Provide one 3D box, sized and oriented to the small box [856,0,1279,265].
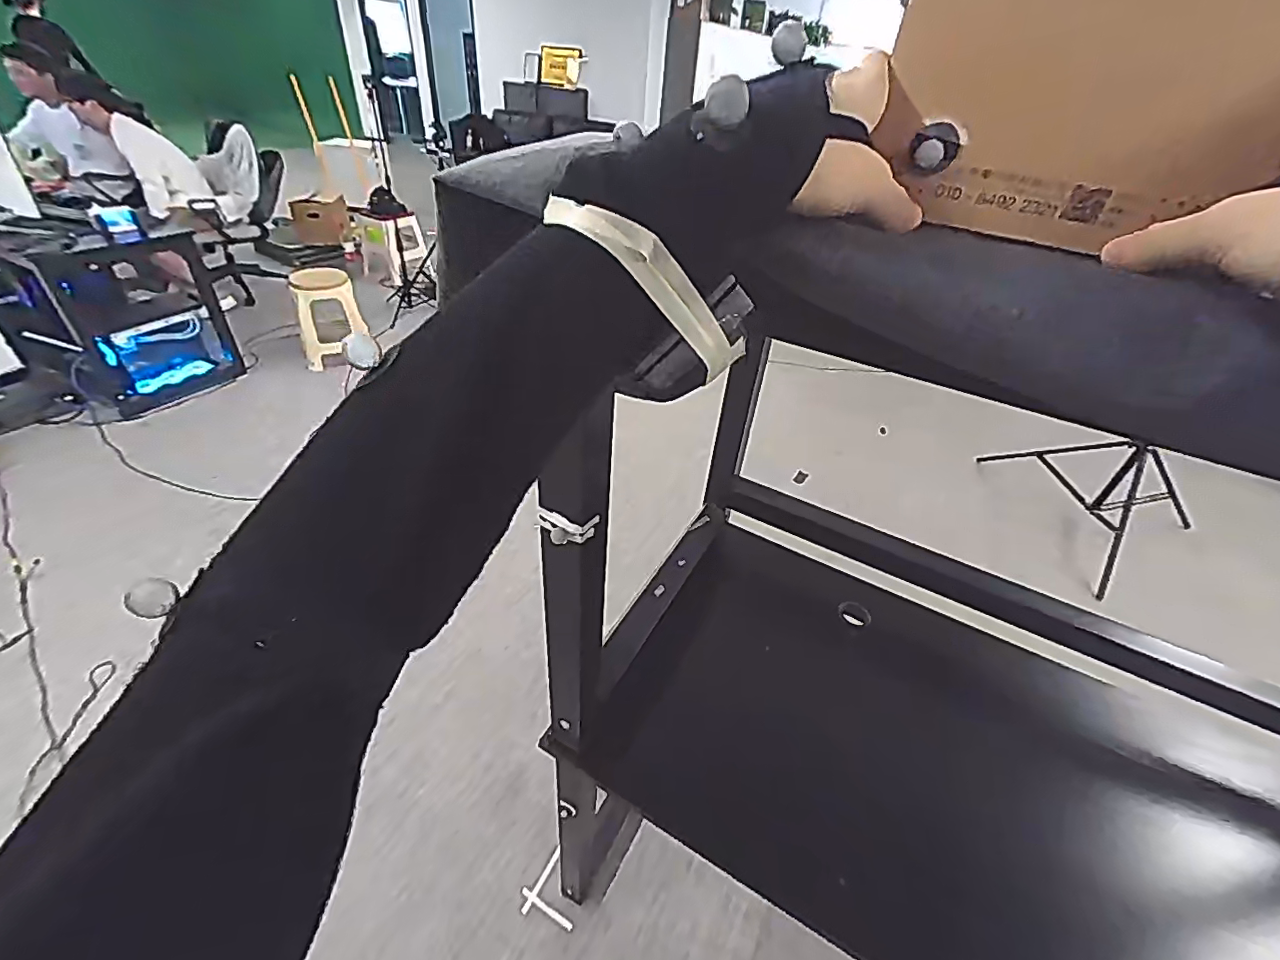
[{"bbox_3d":[0.227,-0.223,0.278,0.168,0.176,0.179,22,39,17],"label":"small box"}]
